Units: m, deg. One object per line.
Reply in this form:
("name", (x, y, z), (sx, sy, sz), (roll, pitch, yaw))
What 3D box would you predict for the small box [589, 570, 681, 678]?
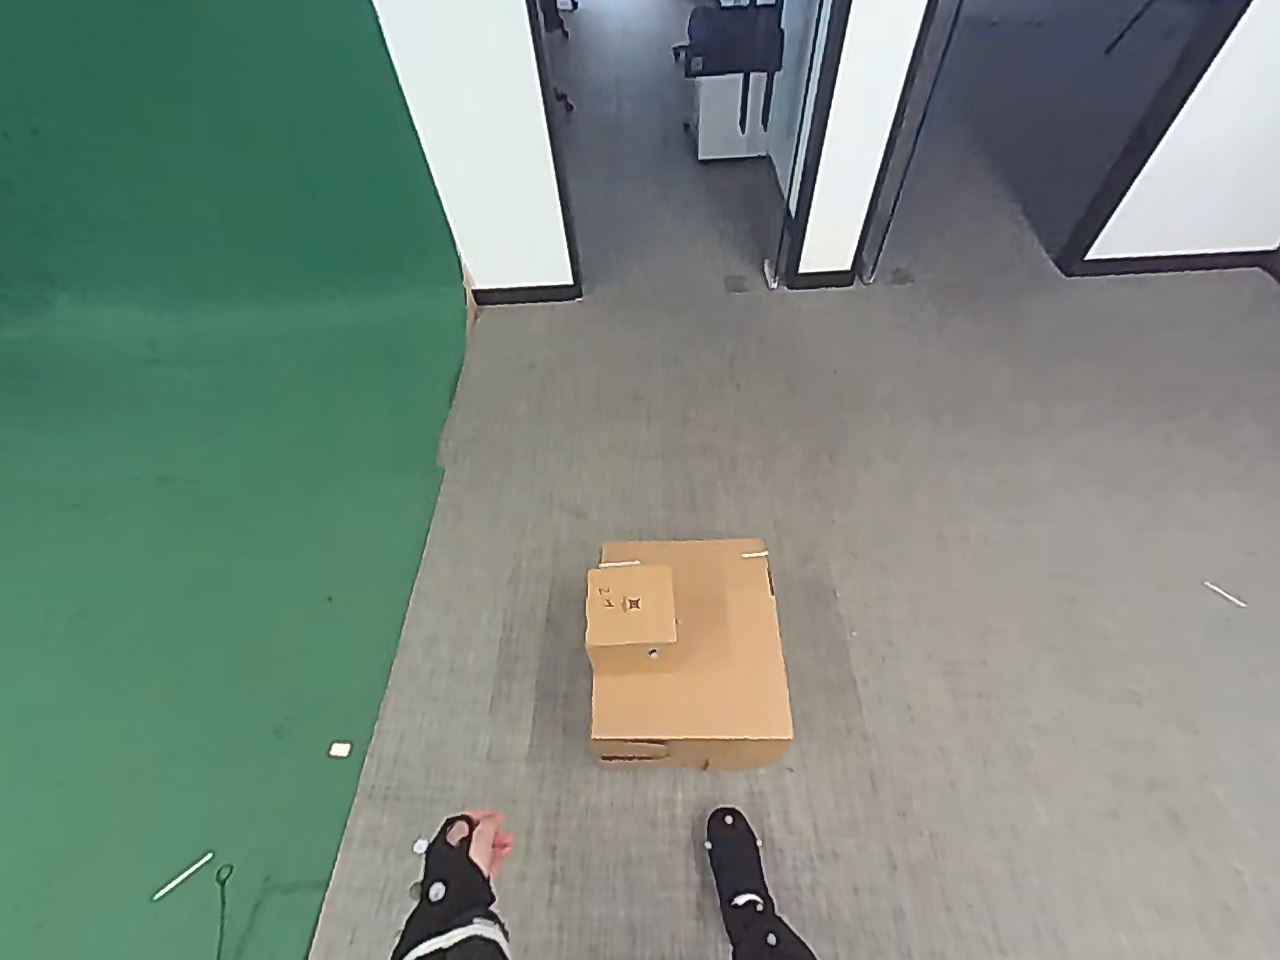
("small box", (-0.006, 0.302, 1.122), (0.179, 0.176, 0.168), (-4, 51, 3))
